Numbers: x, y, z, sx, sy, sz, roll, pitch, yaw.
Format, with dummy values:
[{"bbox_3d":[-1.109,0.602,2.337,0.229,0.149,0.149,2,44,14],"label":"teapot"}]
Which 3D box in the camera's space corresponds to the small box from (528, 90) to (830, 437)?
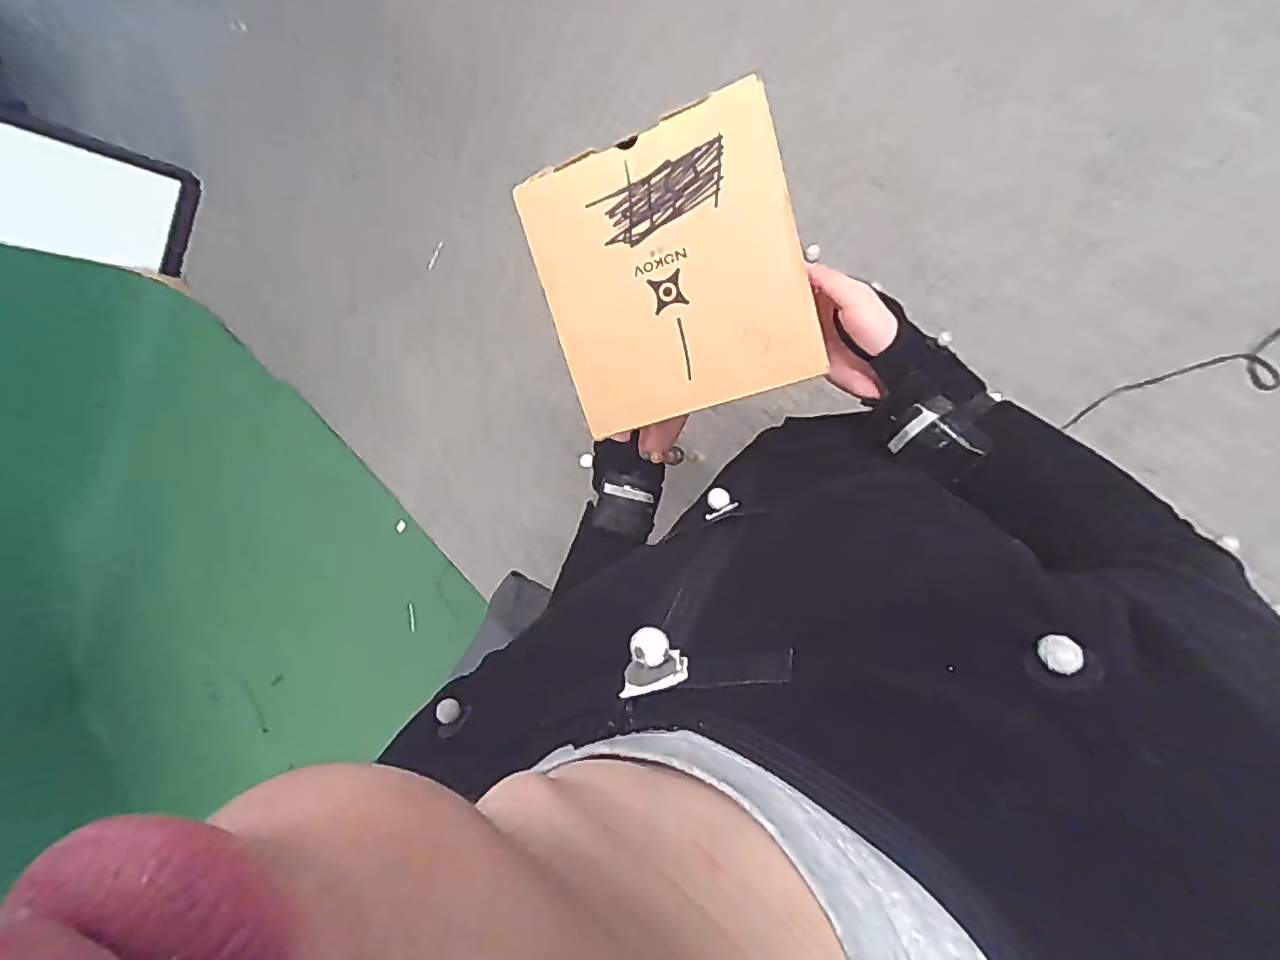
[{"bbox_3d":[0.042,-0.147,0.424,0.168,0.176,0.179,-13,101,19],"label":"small box"}]
